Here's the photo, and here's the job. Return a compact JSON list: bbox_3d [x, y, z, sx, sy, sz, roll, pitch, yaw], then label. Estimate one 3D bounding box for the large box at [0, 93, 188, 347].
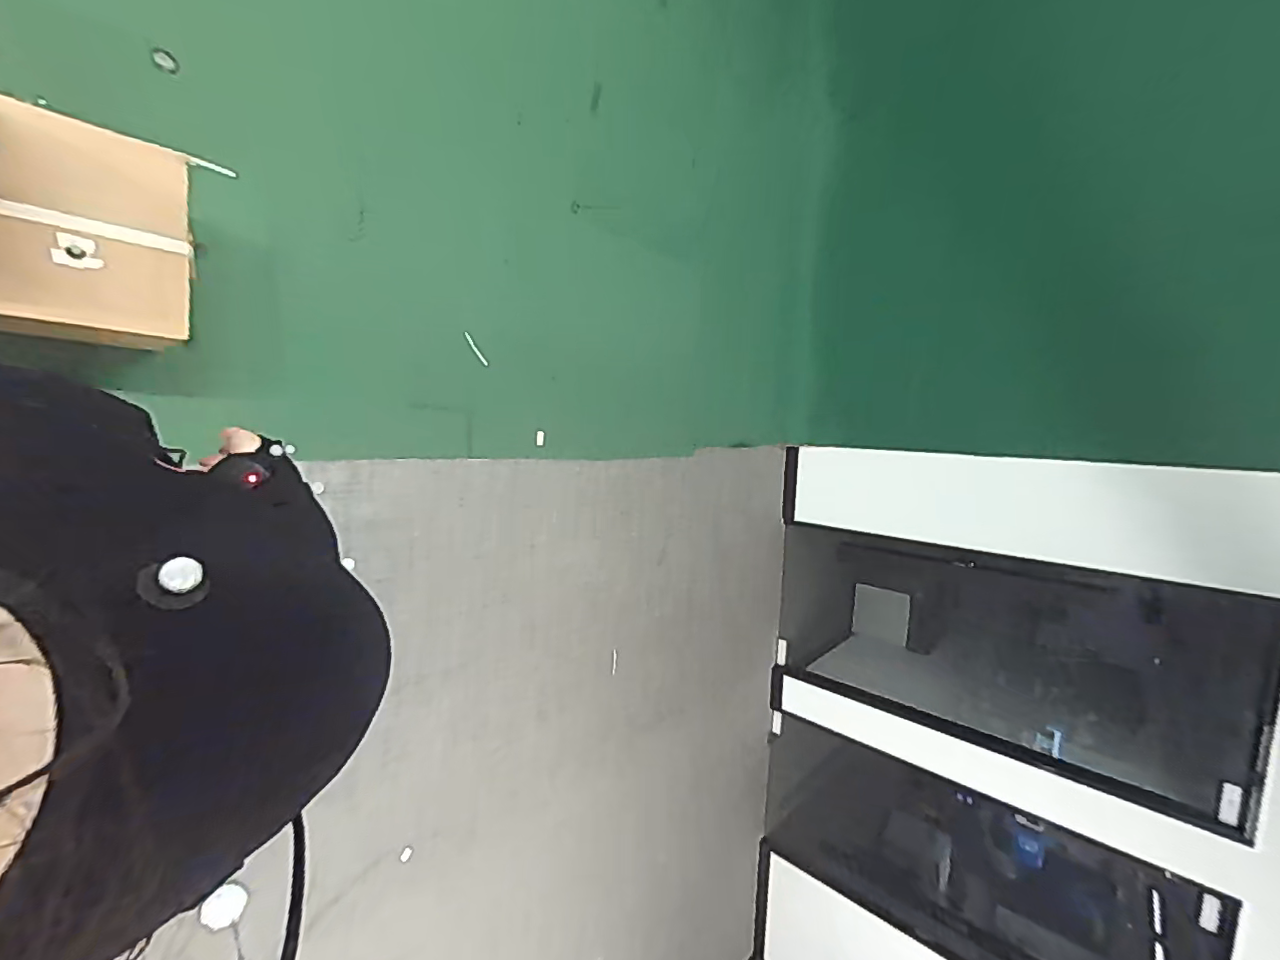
[{"bbox_3d":[-1.024,-0.409,0.877,0.408,0.320,0.320,-2,98,-49],"label":"large box"}]
